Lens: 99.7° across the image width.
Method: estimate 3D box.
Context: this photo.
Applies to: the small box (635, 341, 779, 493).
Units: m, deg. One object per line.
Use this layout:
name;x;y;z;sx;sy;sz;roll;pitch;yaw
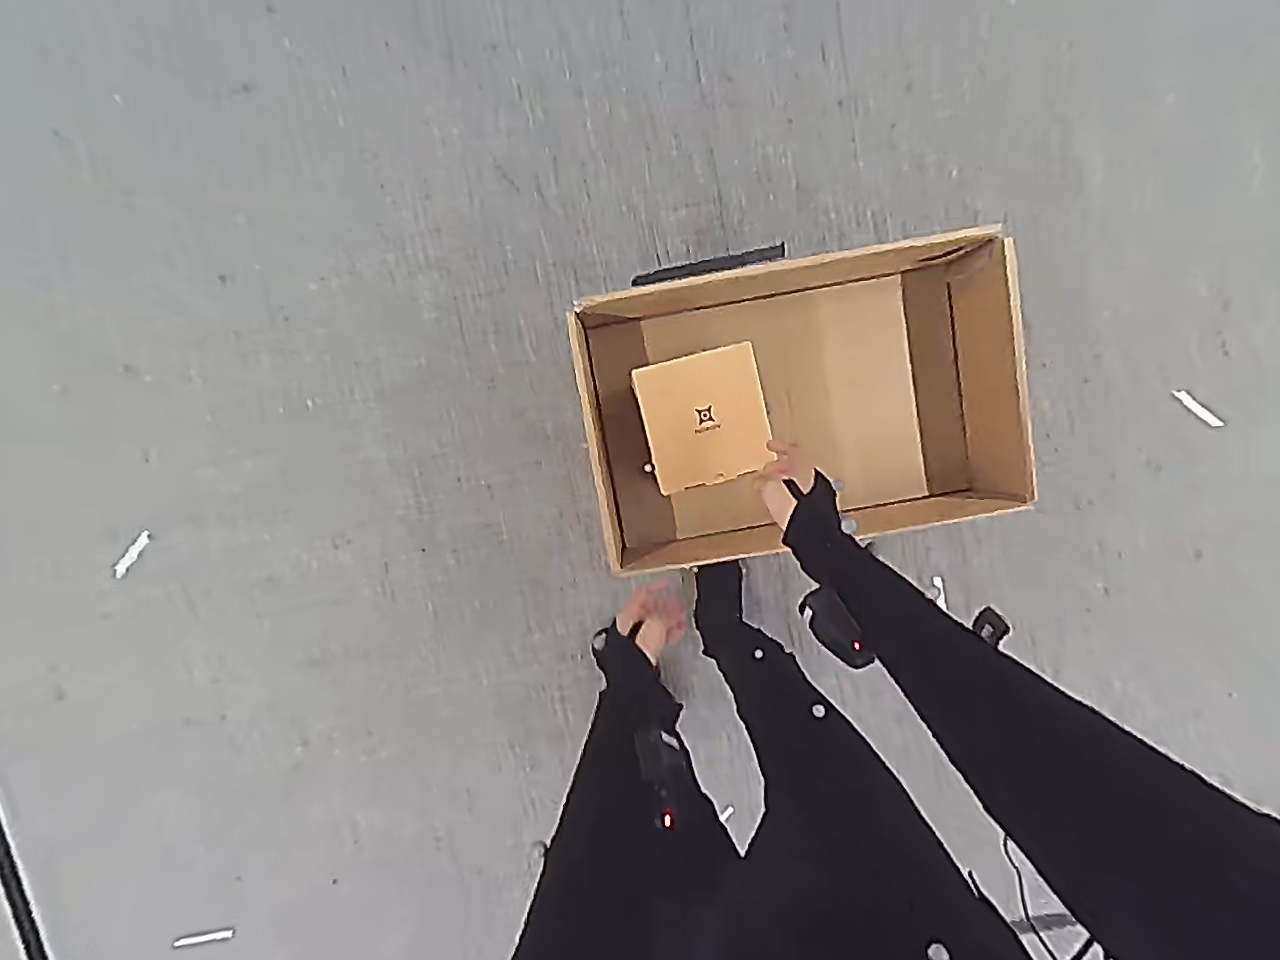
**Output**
small box;0.089;-0.090;0.804;0.168;0.176;0.179;-15;96;1
